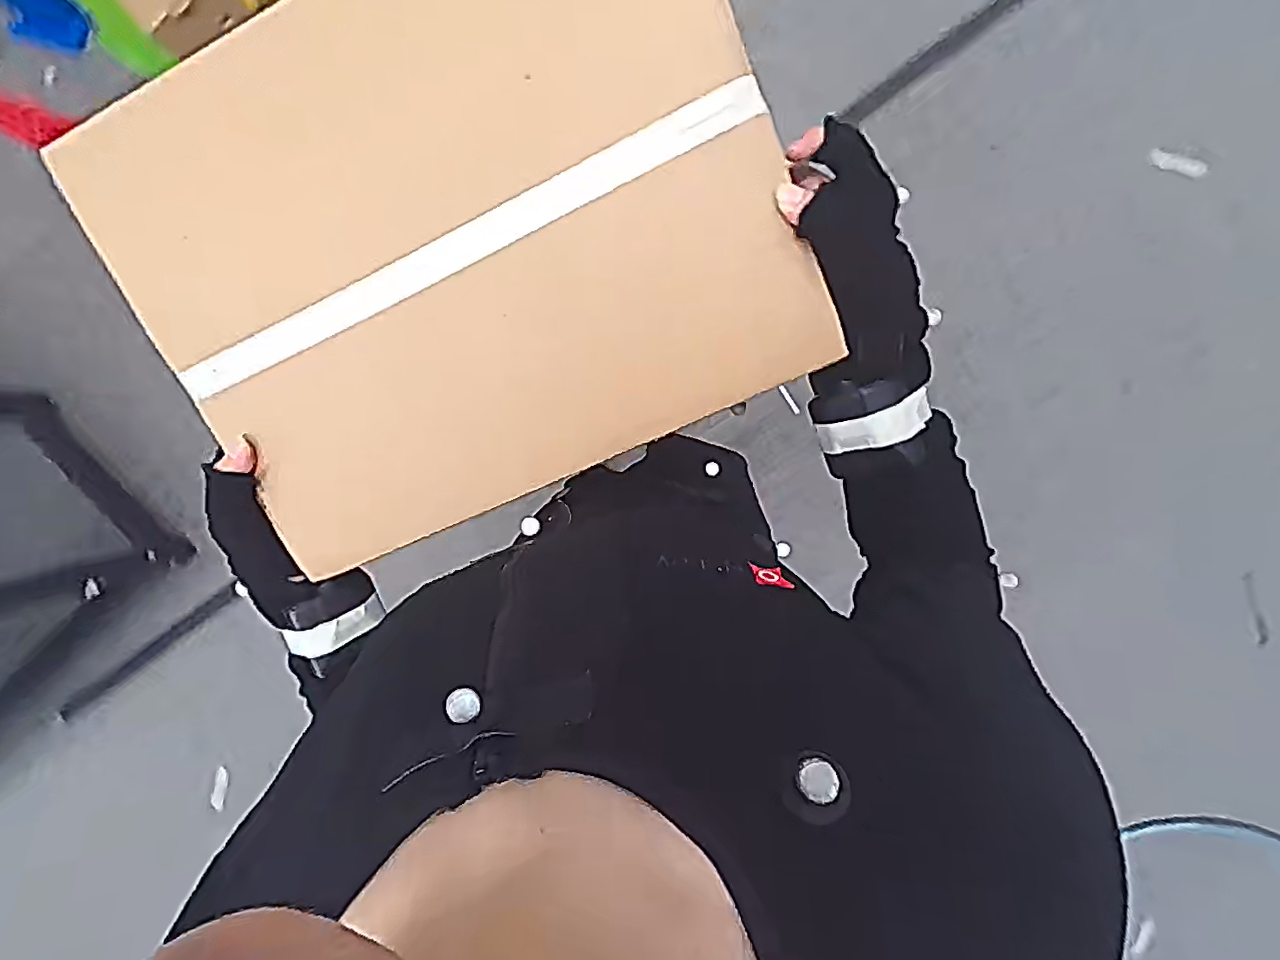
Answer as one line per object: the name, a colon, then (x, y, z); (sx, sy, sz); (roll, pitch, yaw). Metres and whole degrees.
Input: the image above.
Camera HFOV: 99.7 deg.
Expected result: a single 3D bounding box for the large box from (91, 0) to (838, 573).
large box: (-0.101, -0.178, 0.488); (0.408, 0.320, 0.320); (-22, 102, 9)
